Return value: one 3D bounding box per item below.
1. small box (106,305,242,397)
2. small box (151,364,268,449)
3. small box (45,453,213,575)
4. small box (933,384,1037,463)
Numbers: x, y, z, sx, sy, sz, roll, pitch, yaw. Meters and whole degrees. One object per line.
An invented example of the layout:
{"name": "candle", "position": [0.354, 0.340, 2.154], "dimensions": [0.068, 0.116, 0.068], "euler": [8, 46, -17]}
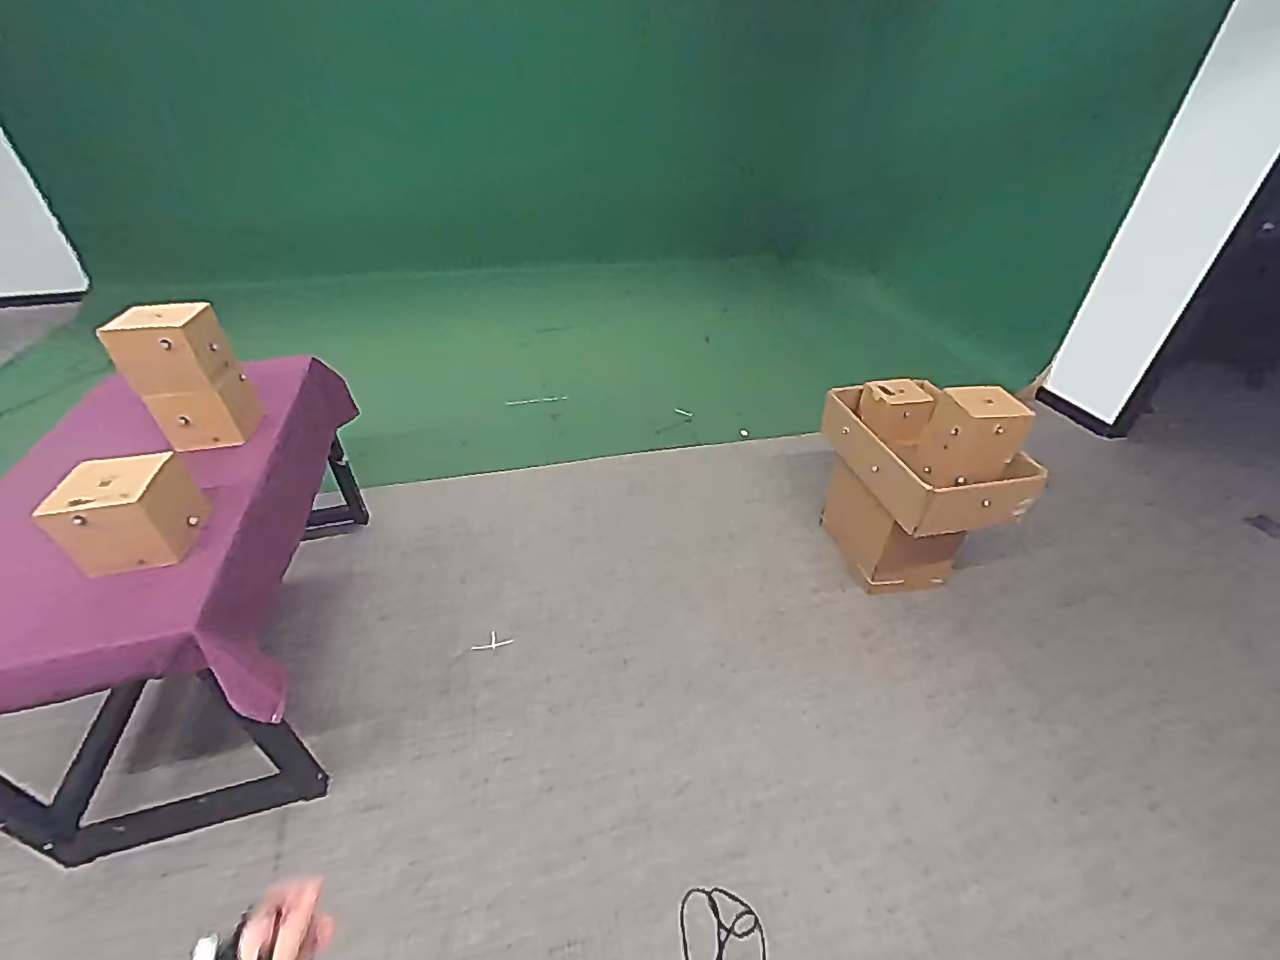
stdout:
{"name": "small box", "position": [-1.154, -0.325, 1.361], "dimensions": [0.179, 0.176, 0.168], "euler": [-7, 37, -8]}
{"name": "small box", "position": [-1.148, -0.194, 1.461], "dimensions": [0.168, 0.176, 0.179], "euler": [-8, 38, -10]}
{"name": "small box", "position": [-1.028, 0.068, 1.113], "dimensions": [0.168, 0.176, 0.179], "euler": [-9, 37, -11]}
{"name": "small box", "position": [0.974, -0.160, 1.552], "dimensions": [0.179, 0.176, 0.168], "euler": [-3, 39, -5]}
